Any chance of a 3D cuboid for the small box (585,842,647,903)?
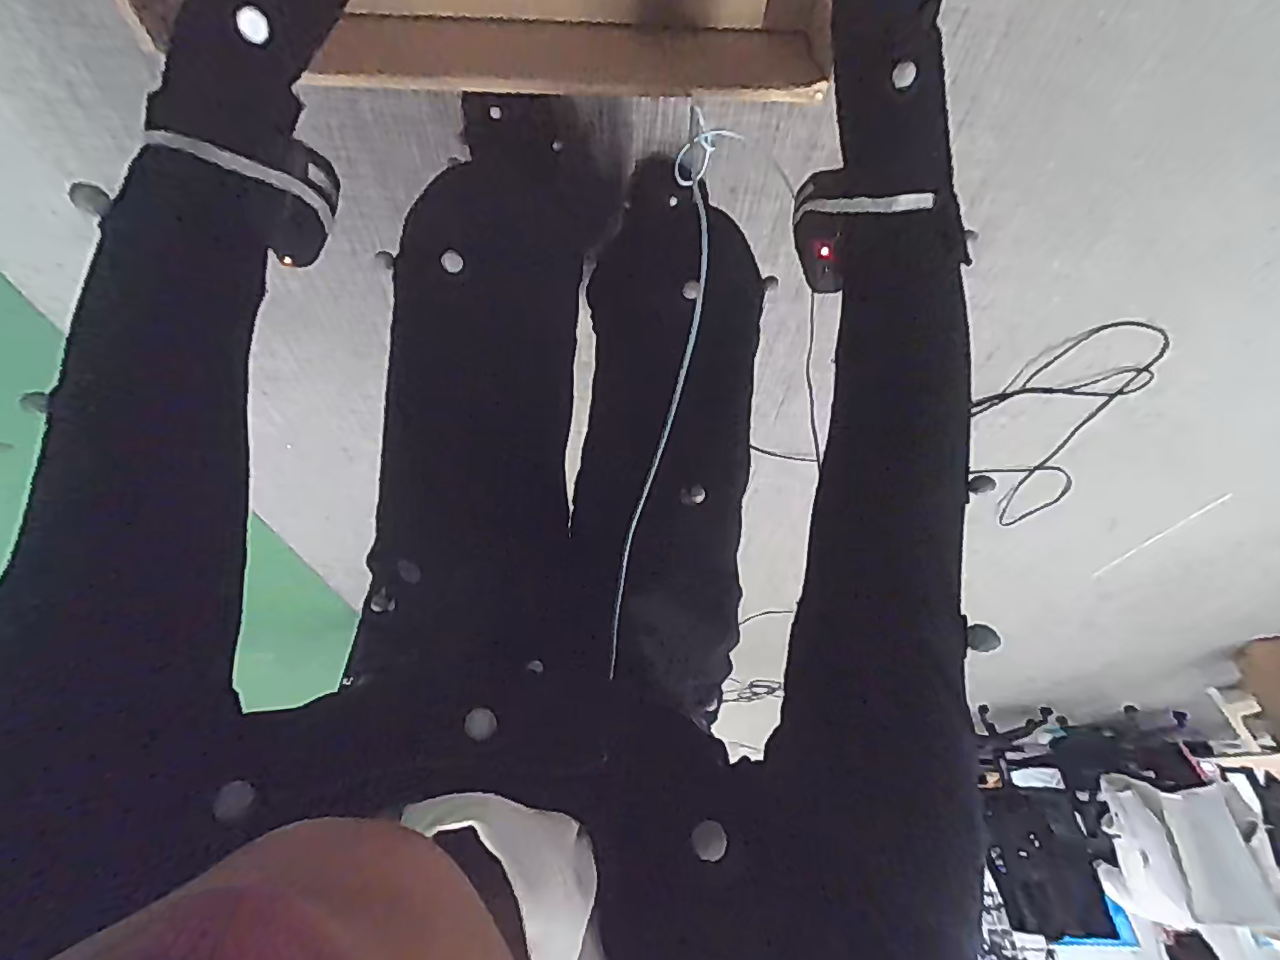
[{"bbox_3d":[-0.085,1.384,1.912,0.168,0.176,0.179,15,144,-19],"label":"small box"}]
